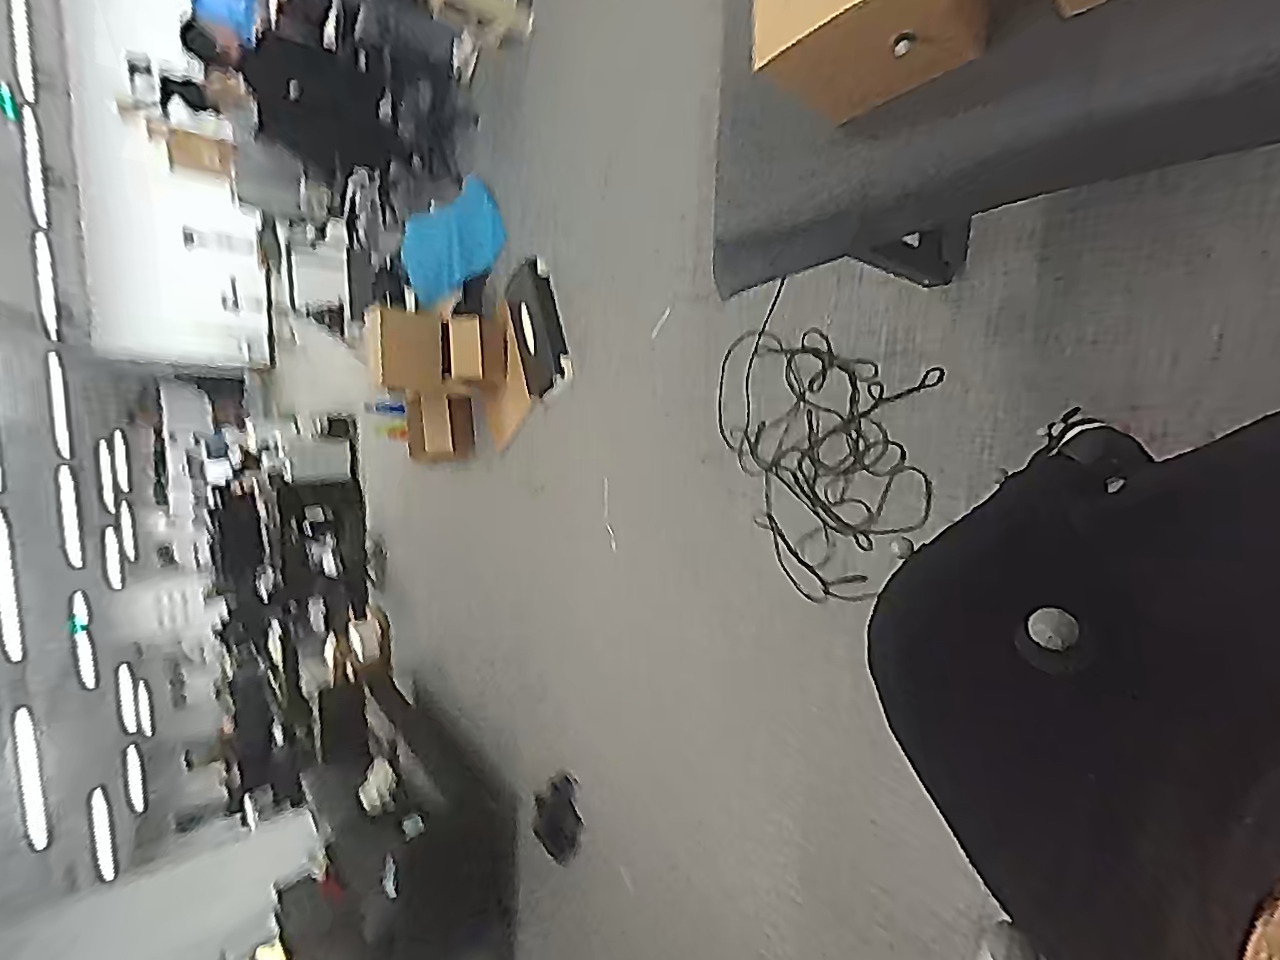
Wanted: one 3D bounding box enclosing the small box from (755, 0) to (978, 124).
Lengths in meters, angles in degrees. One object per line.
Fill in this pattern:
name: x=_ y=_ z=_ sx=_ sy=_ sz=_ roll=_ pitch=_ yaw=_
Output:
small box: x=0.244 y=-0.528 z=0.578 sx=0.179 sy=0.176 sz=0.168 roll=3 pitch=94 yaw=51
